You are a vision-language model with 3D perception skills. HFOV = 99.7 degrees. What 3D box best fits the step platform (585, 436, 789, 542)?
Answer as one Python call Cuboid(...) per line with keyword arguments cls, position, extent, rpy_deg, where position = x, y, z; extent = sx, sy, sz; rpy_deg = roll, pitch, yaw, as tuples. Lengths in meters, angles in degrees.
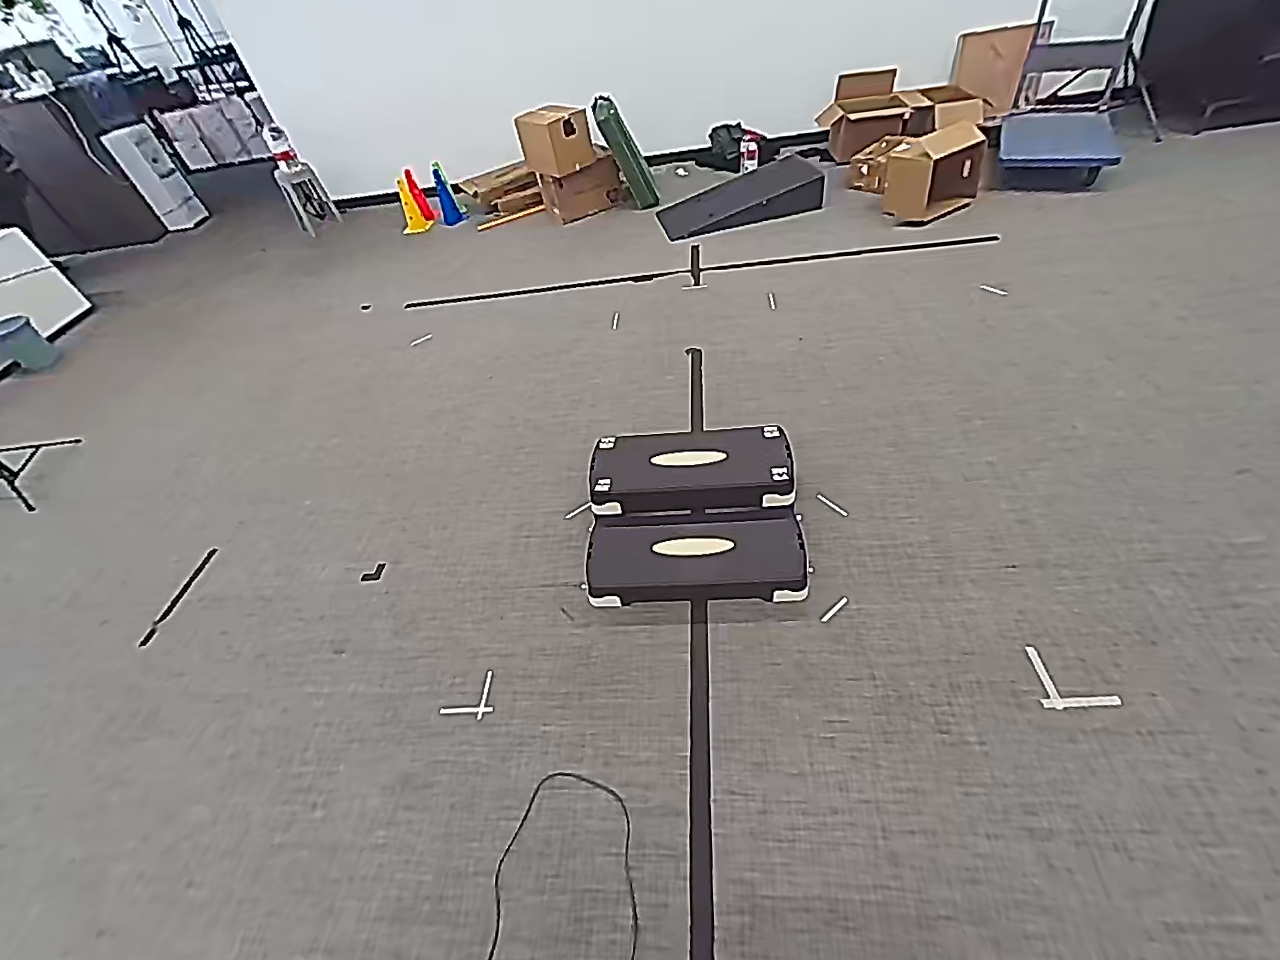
Cuboid(cls="step platform", position=(0.154, 0.028, 1.838), extent=(0.684, 0.204, 0.286), rpy_deg=(-4, 47, 6))
